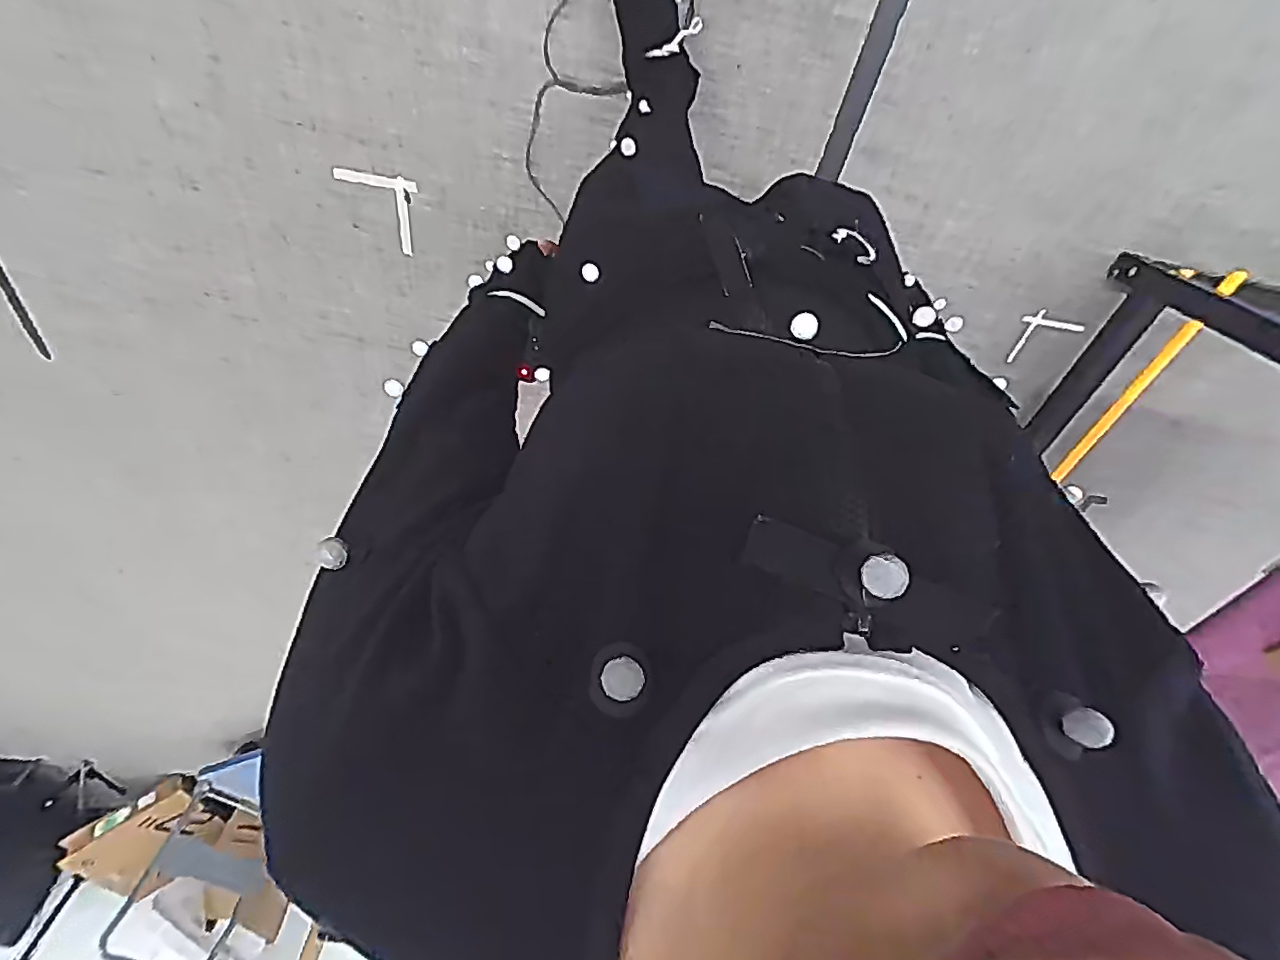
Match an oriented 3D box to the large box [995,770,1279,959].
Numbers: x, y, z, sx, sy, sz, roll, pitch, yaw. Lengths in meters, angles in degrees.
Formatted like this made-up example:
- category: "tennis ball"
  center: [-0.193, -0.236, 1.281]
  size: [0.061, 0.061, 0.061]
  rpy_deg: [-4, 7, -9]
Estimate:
- category: "large box"
  center: [1.049, 0.821, 1.089]
  size: [0.408, 0.320, 0.320]
  rpy_deg: [9, 130, -6]
